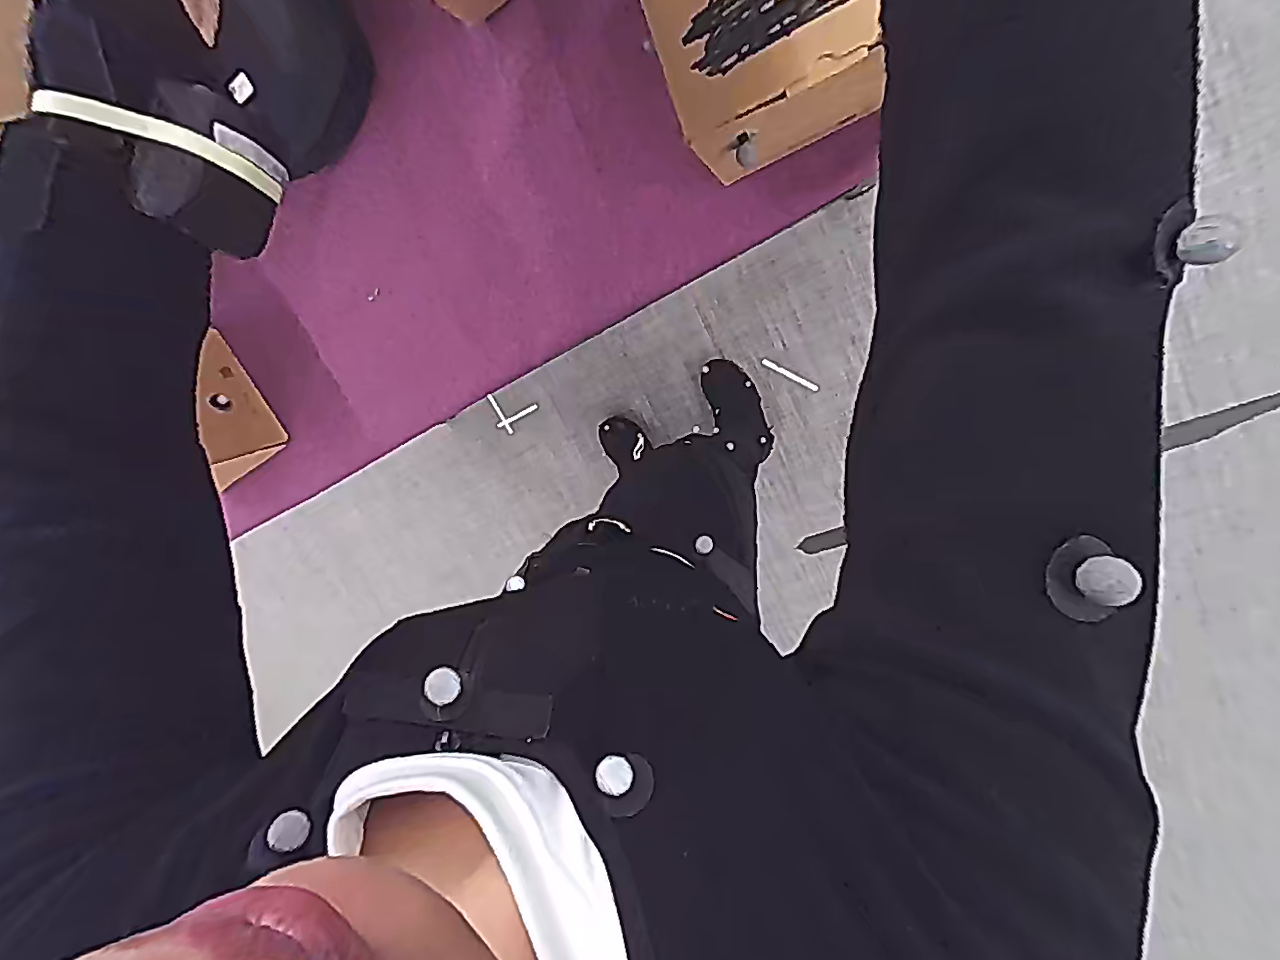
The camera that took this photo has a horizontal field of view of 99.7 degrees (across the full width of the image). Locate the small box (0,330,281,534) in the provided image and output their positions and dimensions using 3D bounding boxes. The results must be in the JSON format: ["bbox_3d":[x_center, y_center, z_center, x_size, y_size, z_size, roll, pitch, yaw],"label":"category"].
[{"bbox_3d":[-0.587,-0.064,0.649,0.179,0.176,0.168,-26,100,22],"label":"small box"}]
